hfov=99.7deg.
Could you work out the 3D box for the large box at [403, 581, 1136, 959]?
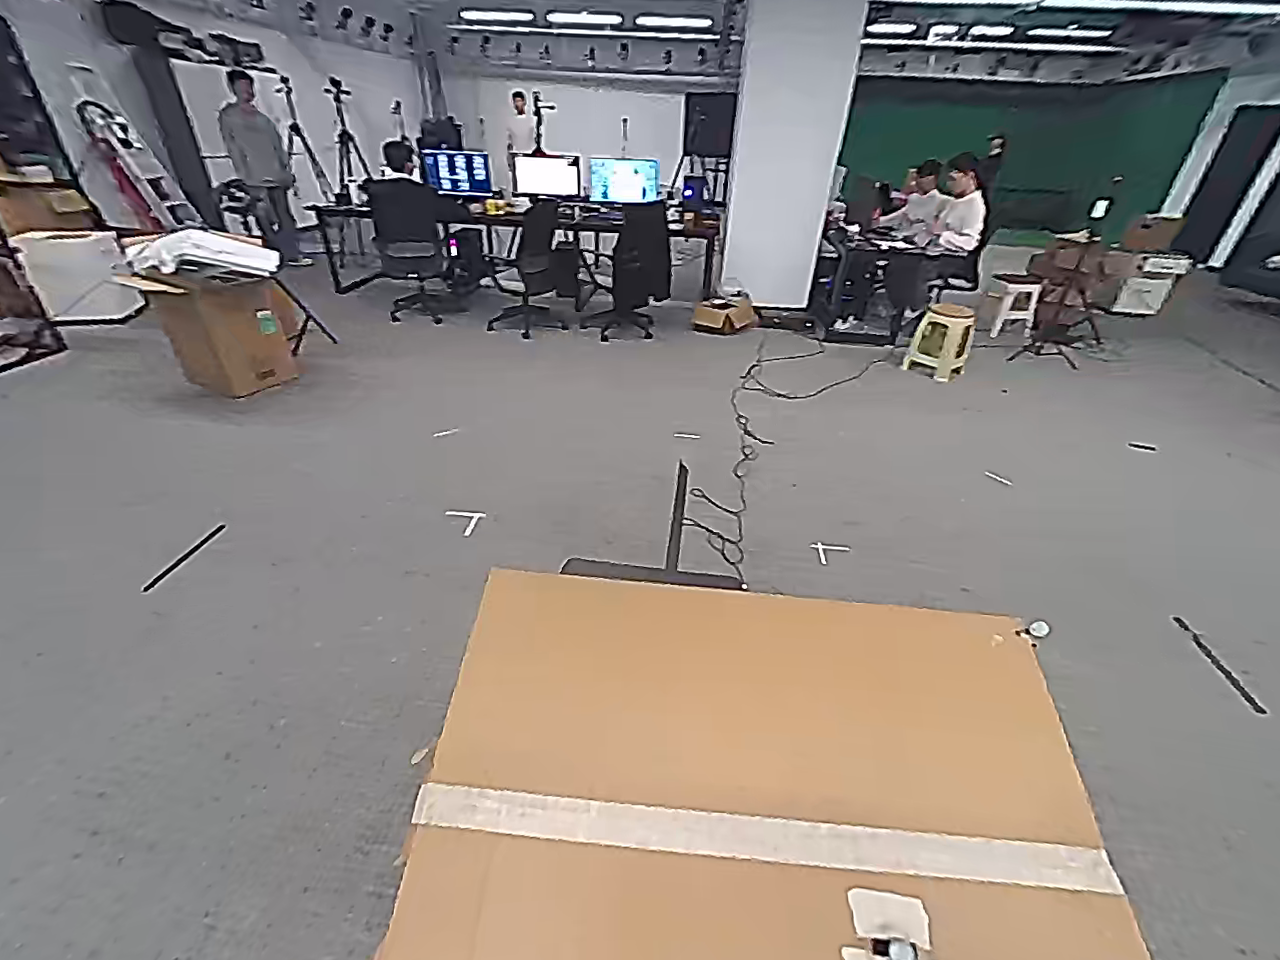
[{"bbox_3d":[0.069,0.304,0.442,0.408,0.320,0.320,5,54,1],"label":"large box"}]
